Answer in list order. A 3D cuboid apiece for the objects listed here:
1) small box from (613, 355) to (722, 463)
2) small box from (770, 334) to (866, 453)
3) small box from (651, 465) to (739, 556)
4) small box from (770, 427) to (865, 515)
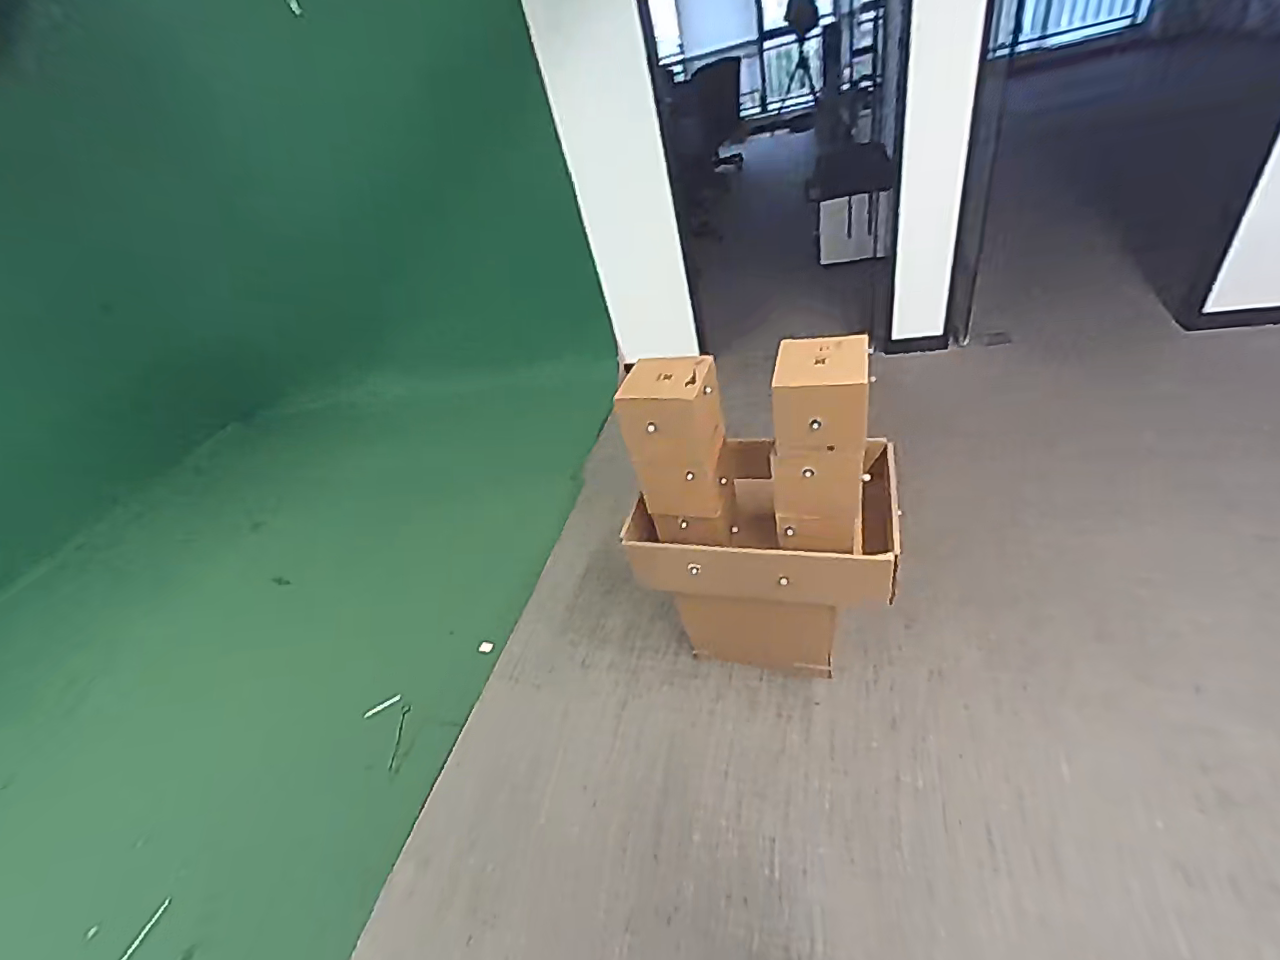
[{"bbox_3d":[0.067,-0.151,1.167,0.179,0.176,0.168,3,43,23],"label":"small box"},{"bbox_3d":[0.357,-0.167,1.069,0.168,0.176,0.179,2,42,21],"label":"small box"},{"bbox_3d":[0.147,0.079,1.386,0.179,0.176,0.168,3,43,22],"label":"small box"},{"bbox_3d":[0.388,-0.040,1.171,0.179,0.176,0.168,4,43,23],"label":"small box"}]
